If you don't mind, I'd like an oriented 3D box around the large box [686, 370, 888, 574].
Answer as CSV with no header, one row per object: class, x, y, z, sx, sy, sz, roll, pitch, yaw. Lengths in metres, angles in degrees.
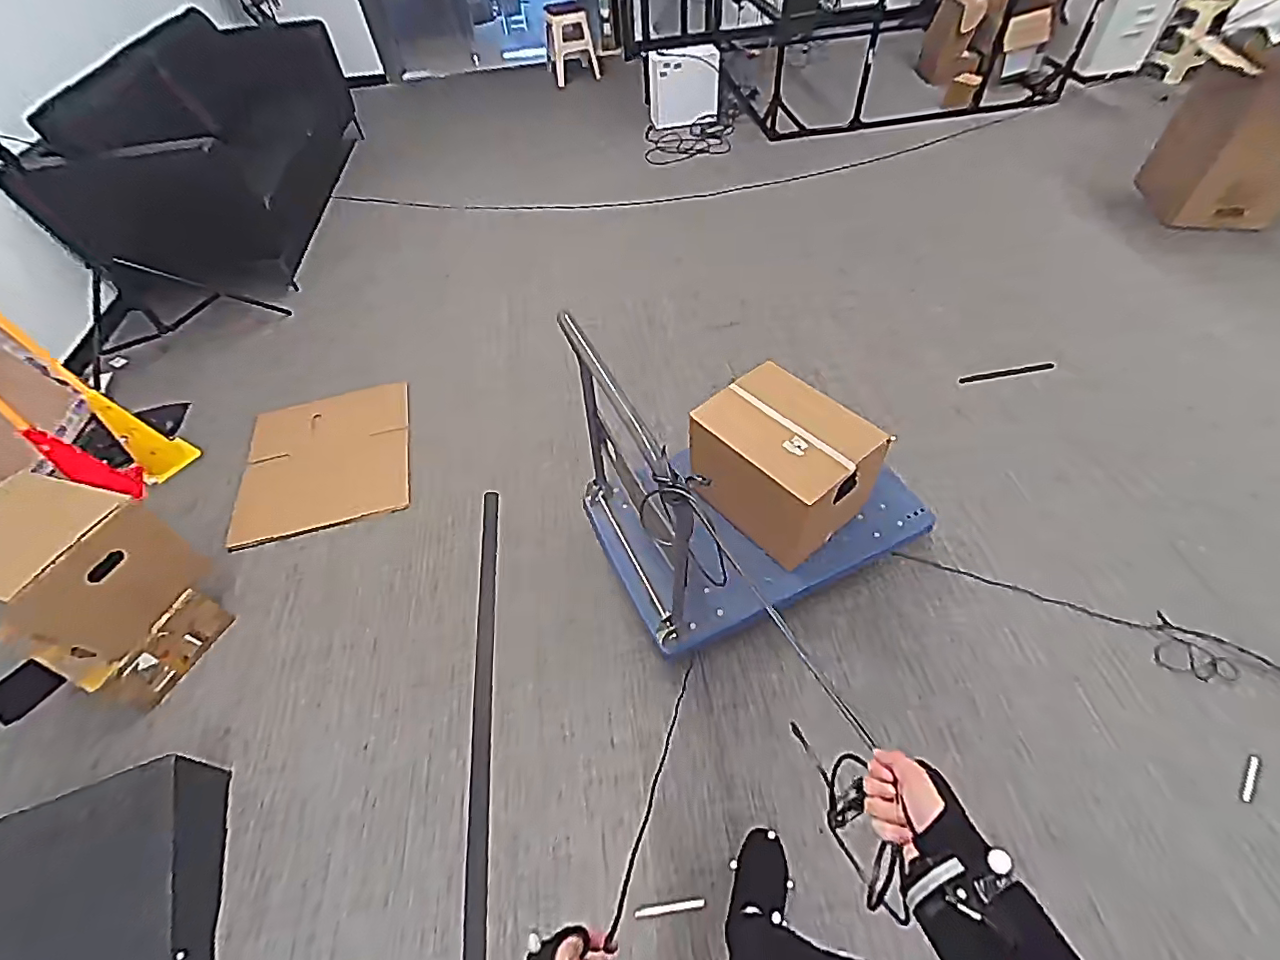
large box,0.373,-0.028,1.480,0.320,0.320,0.408,-35,57,-21
